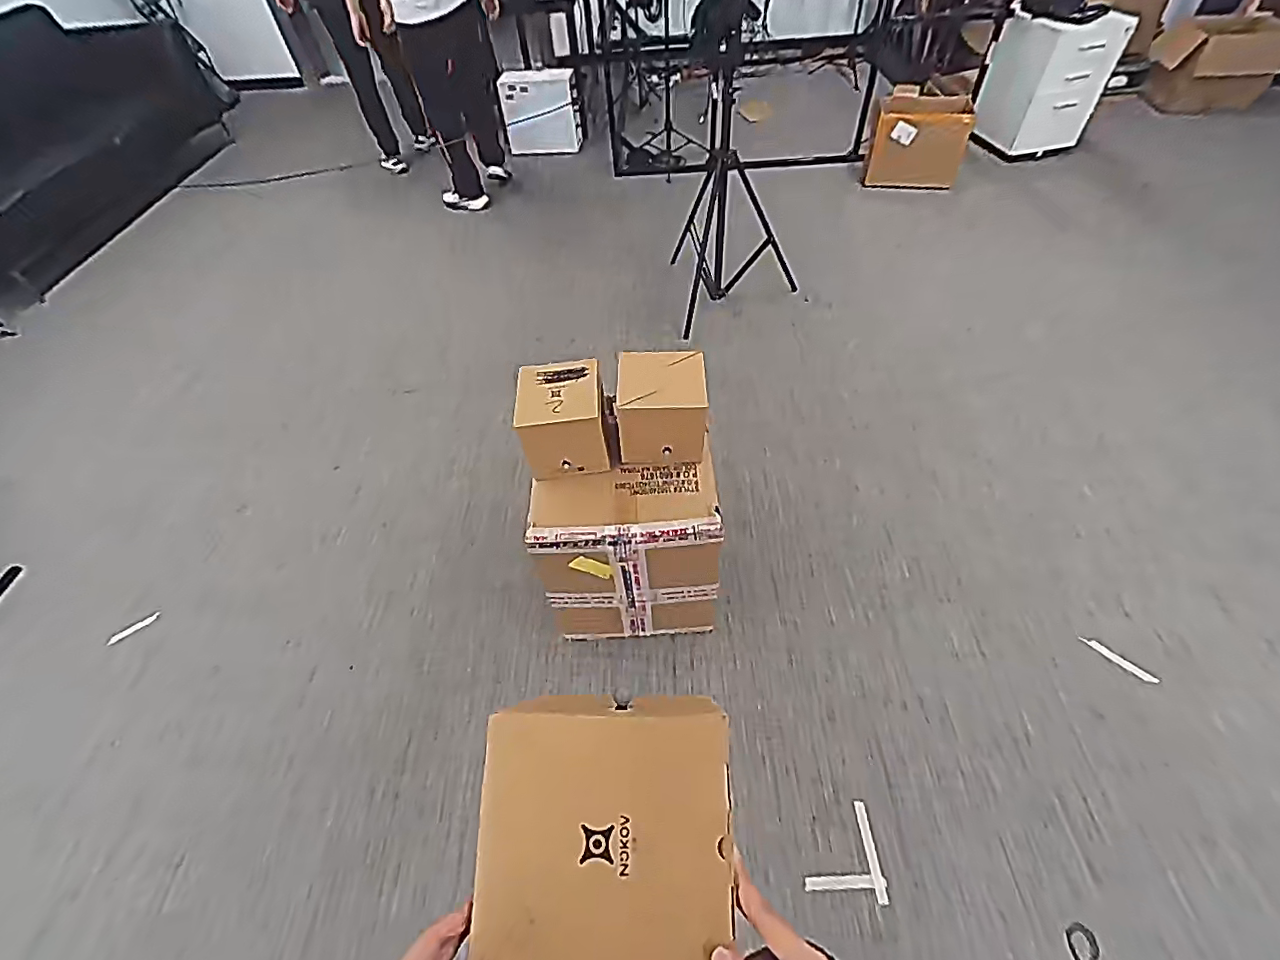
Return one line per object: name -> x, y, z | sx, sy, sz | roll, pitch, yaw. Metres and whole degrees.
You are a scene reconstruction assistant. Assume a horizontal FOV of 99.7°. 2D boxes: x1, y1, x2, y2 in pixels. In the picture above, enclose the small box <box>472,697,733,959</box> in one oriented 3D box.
small box -> -0.020, 0.278, 0.454 | 0.179, 0.176, 0.168 | 0, 71, 2
